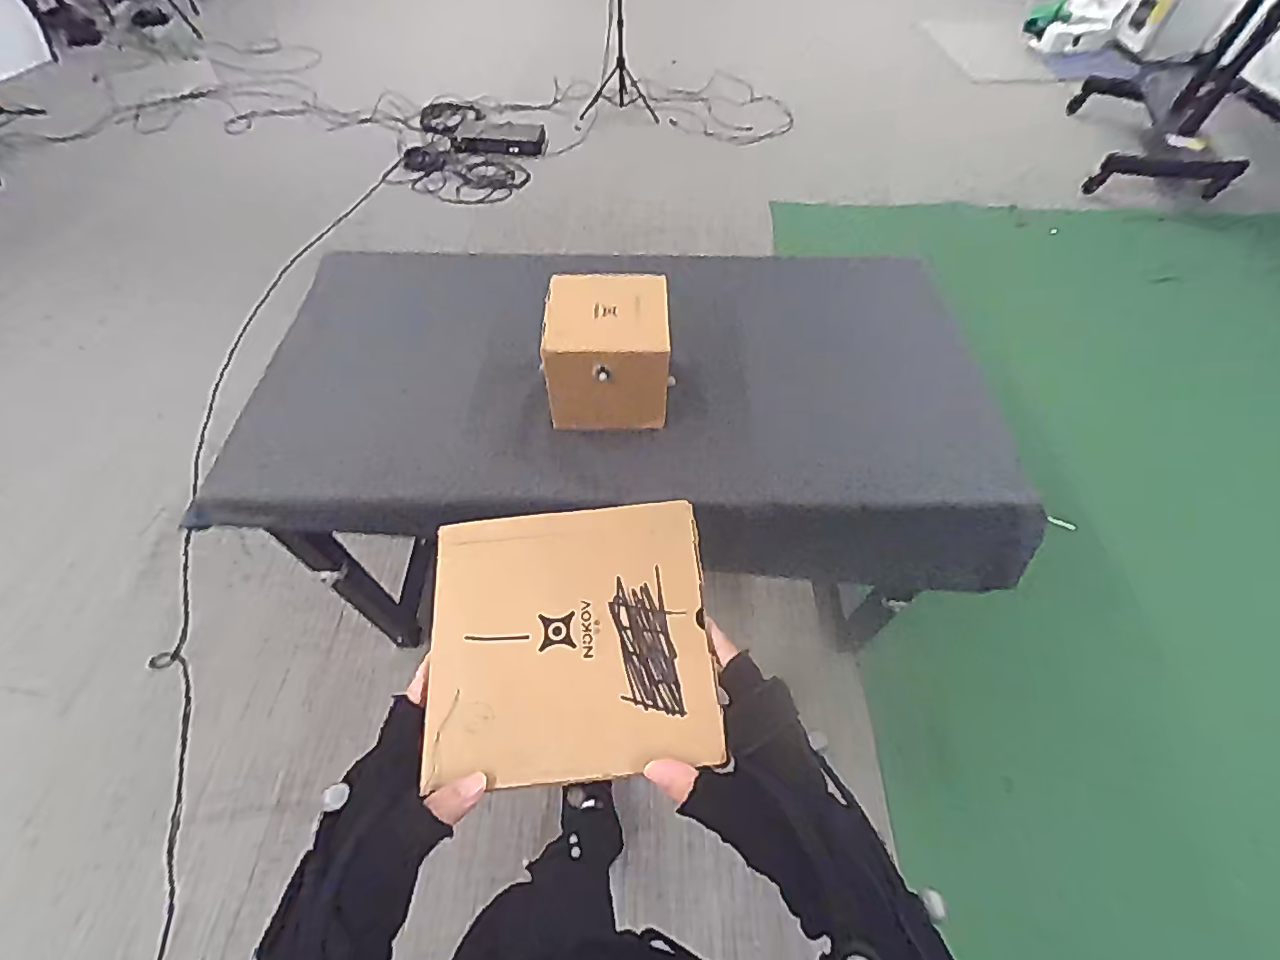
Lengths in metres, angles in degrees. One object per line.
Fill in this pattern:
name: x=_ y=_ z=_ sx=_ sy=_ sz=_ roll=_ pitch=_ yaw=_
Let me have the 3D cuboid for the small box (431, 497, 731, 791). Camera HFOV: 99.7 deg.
small box: x=-0.044 y=0.128 z=0.415 sx=0.179 sy=0.176 sz=0.168 roll=-7 pitch=64 yaw=-4

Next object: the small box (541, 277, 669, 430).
small box: x=-0.048 y=-0.191 z=0.834 sx=0.179 sy=0.176 sz=0.168 roll=0 pitch=56 yaw=-1
